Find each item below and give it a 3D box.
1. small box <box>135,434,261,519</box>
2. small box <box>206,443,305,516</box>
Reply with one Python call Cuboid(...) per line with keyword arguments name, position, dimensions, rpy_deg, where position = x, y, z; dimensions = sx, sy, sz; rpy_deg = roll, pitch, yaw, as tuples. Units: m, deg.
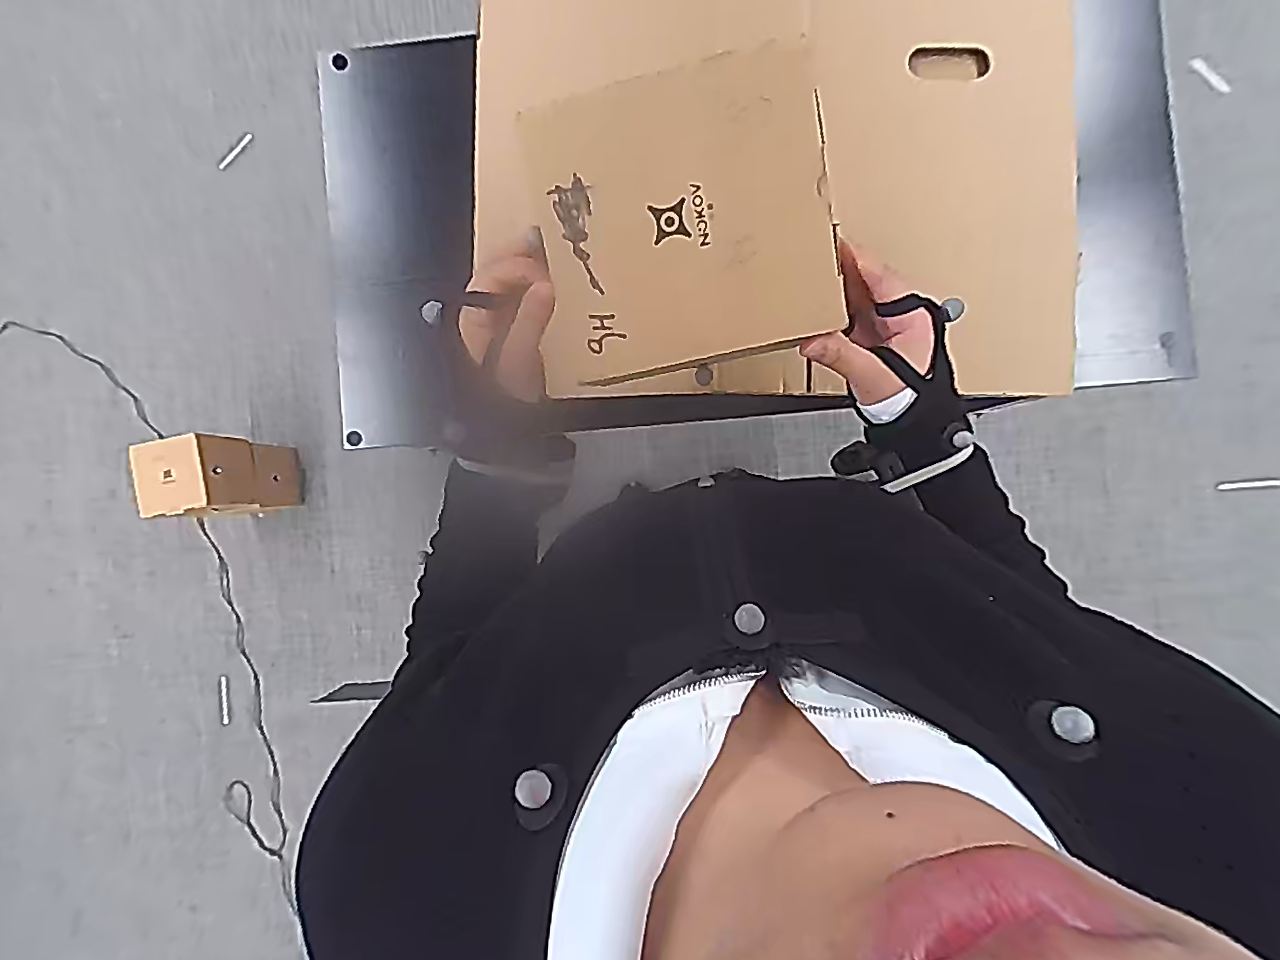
Cuboid(name="small box", position=(-1.078, -0.009, 1.334), dimensions=(0.168, 0.176, 0.179), rpy_deg=(-11, 88, 3))
Cuboid(name="small box", position=(-1.067, 0.000, 1.497), dimensions=(0.168, 0.176, 0.179), rpy_deg=(-9, 89, 3))
